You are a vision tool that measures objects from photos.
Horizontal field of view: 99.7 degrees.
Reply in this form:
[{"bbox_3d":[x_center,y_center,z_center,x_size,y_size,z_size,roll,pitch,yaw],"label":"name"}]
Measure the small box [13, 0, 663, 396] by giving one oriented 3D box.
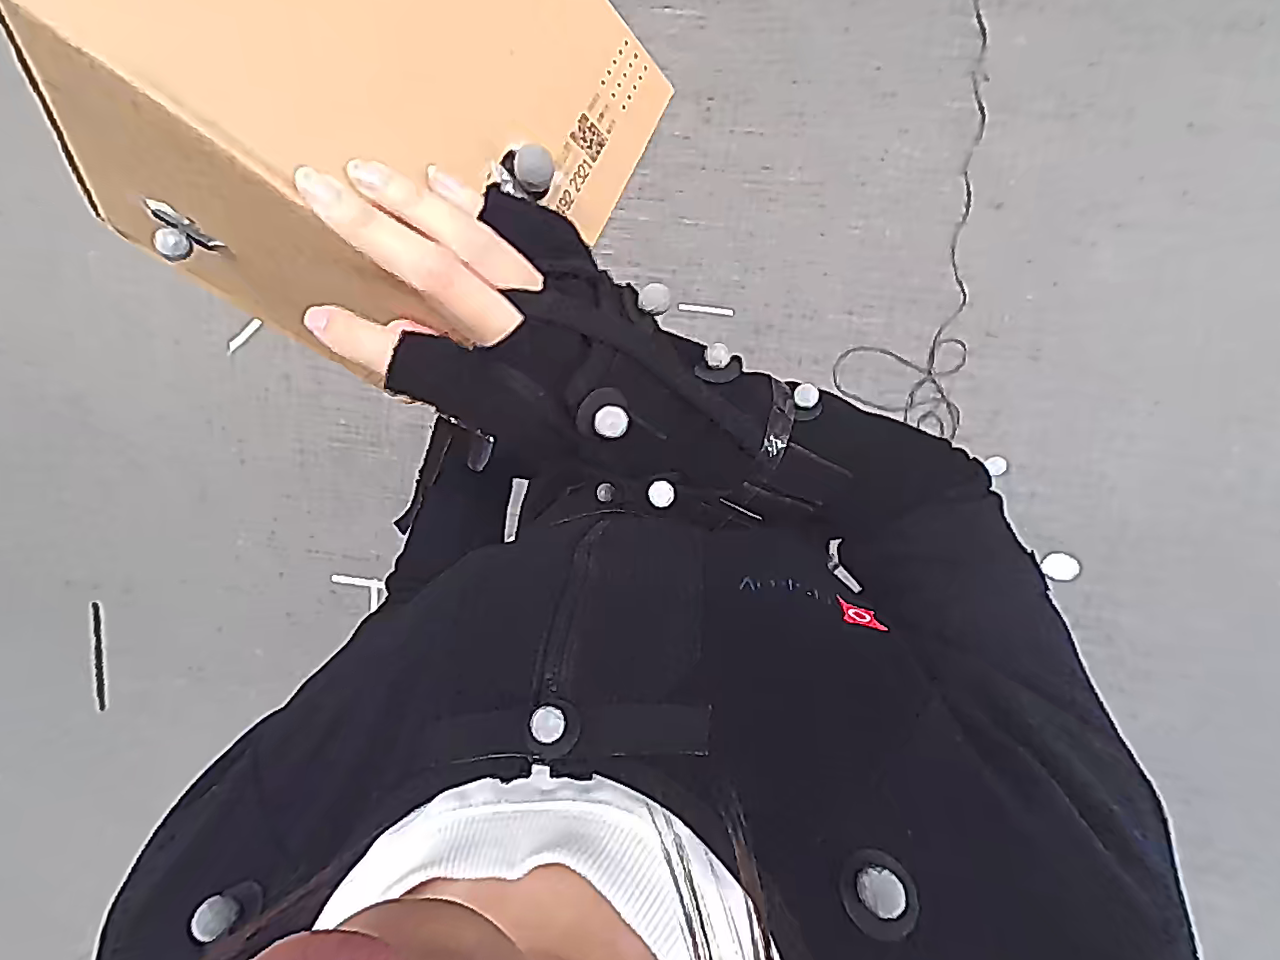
[{"bbox_3d":[-0.122,-0.155,0.267,0.176,0.179,0.168,32,71,-35],"label":"small box"}]
